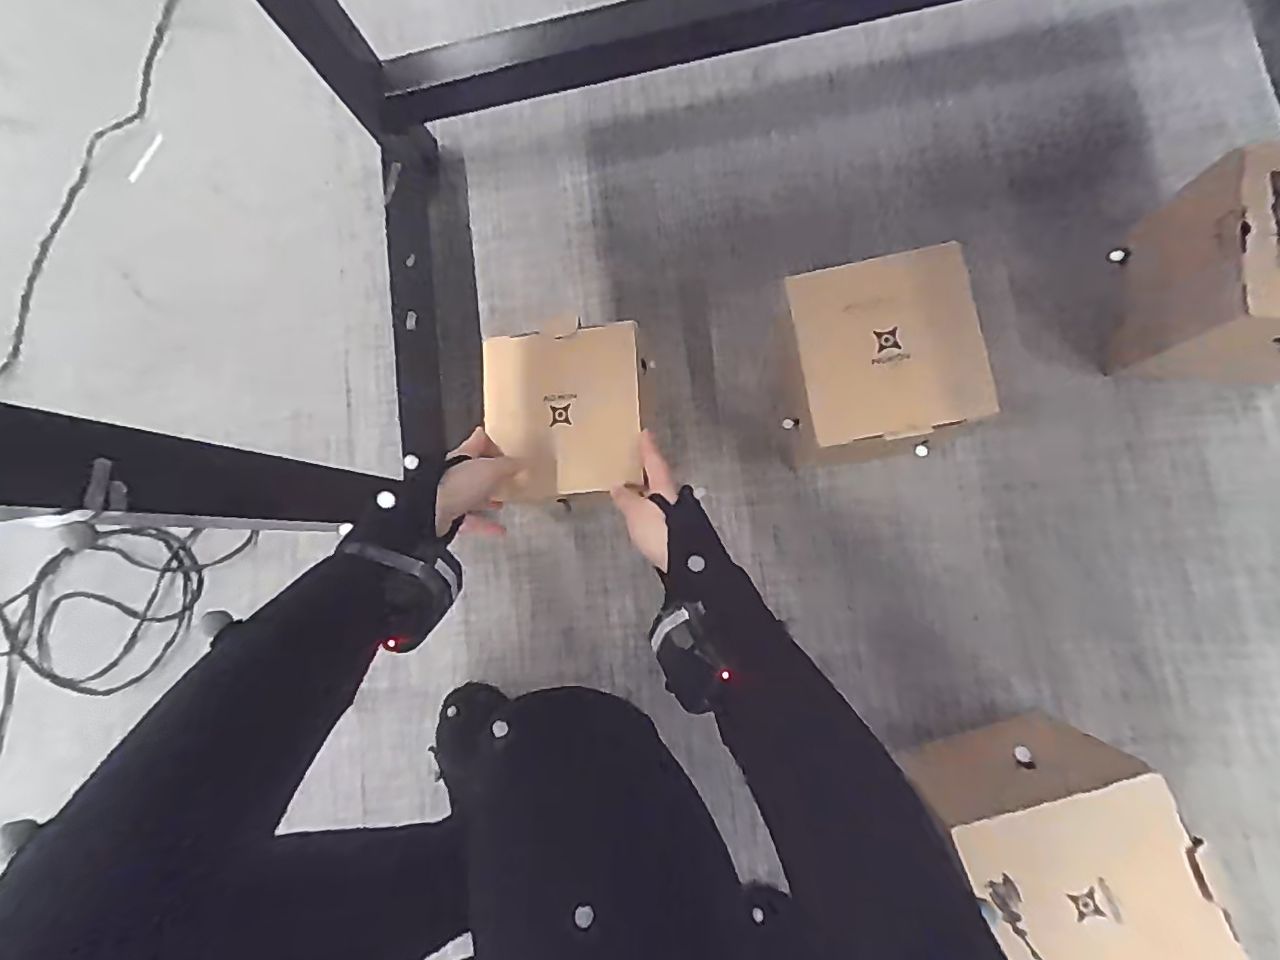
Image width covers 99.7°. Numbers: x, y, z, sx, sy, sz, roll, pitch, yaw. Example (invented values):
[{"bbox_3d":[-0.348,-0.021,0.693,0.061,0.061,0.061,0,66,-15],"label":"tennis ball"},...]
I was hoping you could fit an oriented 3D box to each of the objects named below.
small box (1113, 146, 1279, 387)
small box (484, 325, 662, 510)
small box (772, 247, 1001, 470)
[{"bbox_3d":[0.620,-0.197,0.537,0.179,0.176,0.168,5,84,8],"label":"small box"},{"bbox_3d":[-0.067,-0.057,0.625,0.168,0.176,0.179,-4,82,8],"label":"small box"},{"bbox_3d":[0.244,-0.112,0.583,0.168,0.176,0.179,-10,81,7],"label":"small box"}]
